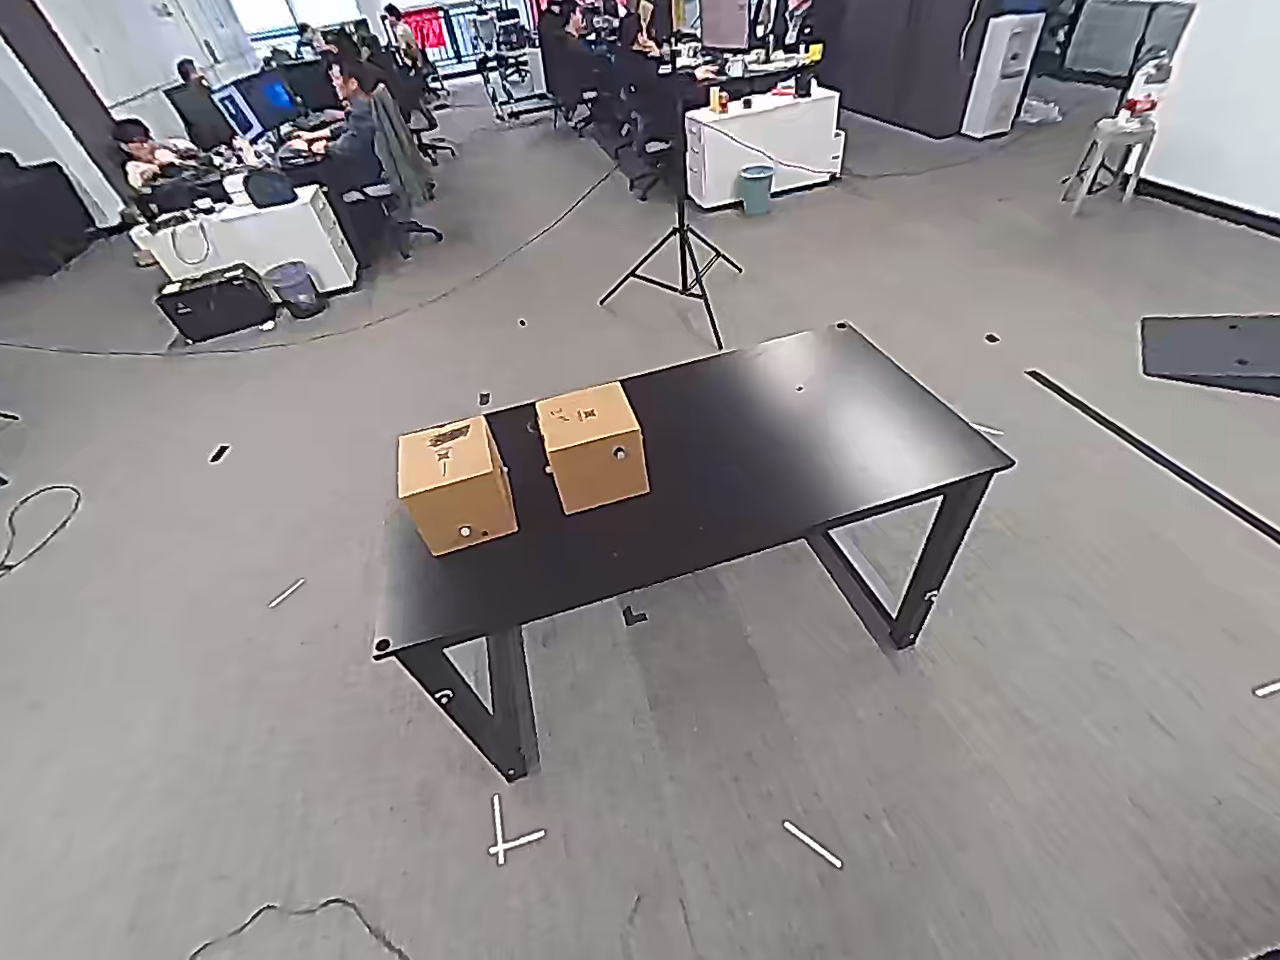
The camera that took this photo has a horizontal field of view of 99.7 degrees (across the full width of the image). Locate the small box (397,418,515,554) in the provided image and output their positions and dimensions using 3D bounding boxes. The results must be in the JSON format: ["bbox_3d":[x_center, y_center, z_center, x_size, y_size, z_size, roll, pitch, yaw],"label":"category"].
[{"bbox_3d":[-0.352,0.012,1.048,0.168,0.176,0.179,-17,46,-8],"label":"small box"}]

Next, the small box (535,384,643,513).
[{"bbox_3d":[-0.097,-0.062,1.080,0.179,0.176,0.168,-16,44,-6],"label":"small box"}]
